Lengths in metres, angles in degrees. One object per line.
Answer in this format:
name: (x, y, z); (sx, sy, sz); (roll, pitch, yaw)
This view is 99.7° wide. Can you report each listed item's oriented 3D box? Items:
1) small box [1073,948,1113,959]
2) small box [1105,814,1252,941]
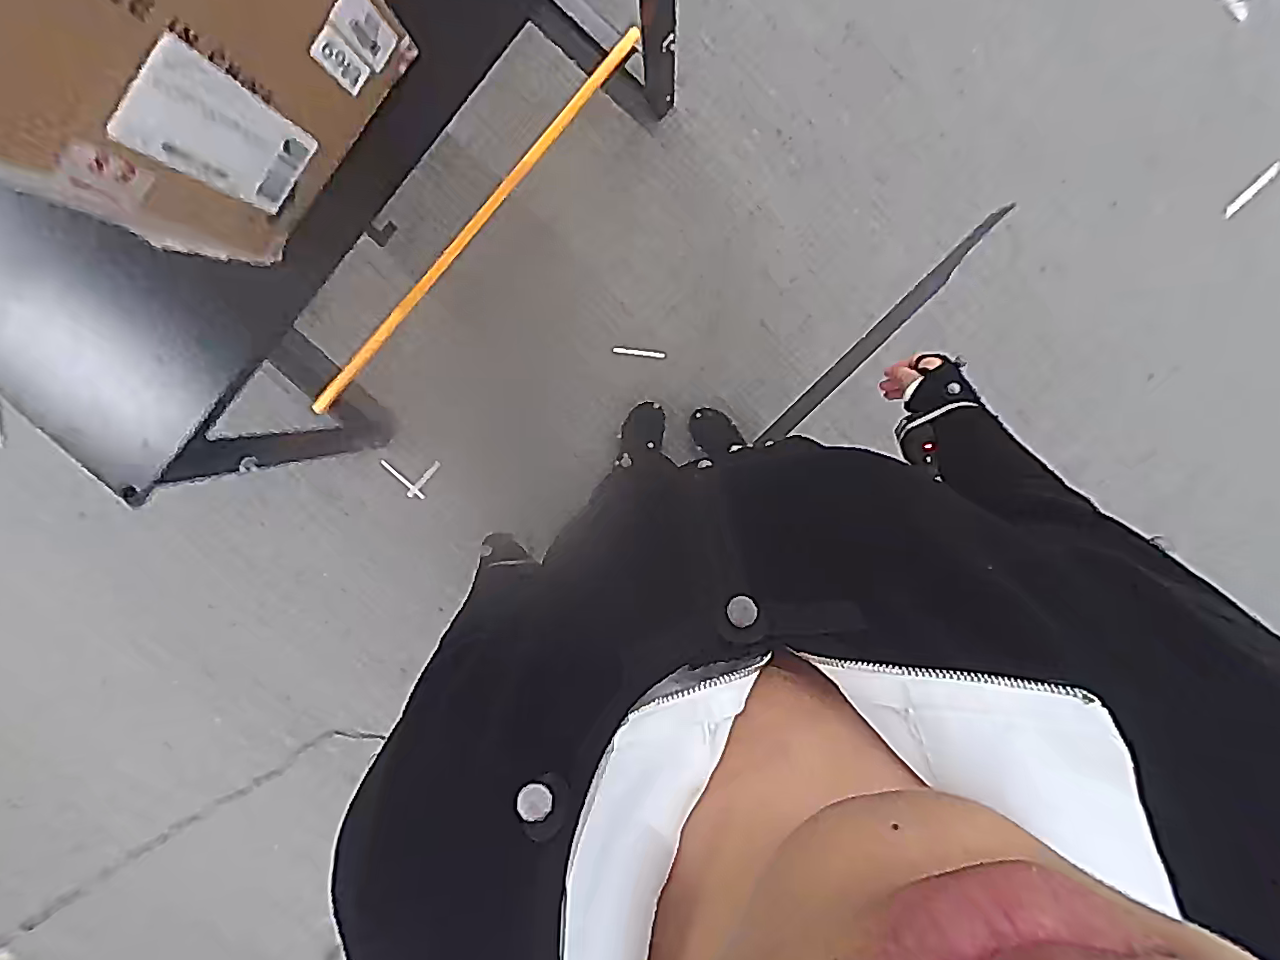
small box: (1.157, 1.297, 1.303); (0.179, 0.176, 0.168); (38, 97, -4)
small box: (1.394, 1.027, 1.413); (0.179, 0.176, 0.168); (43, 98, -5)
